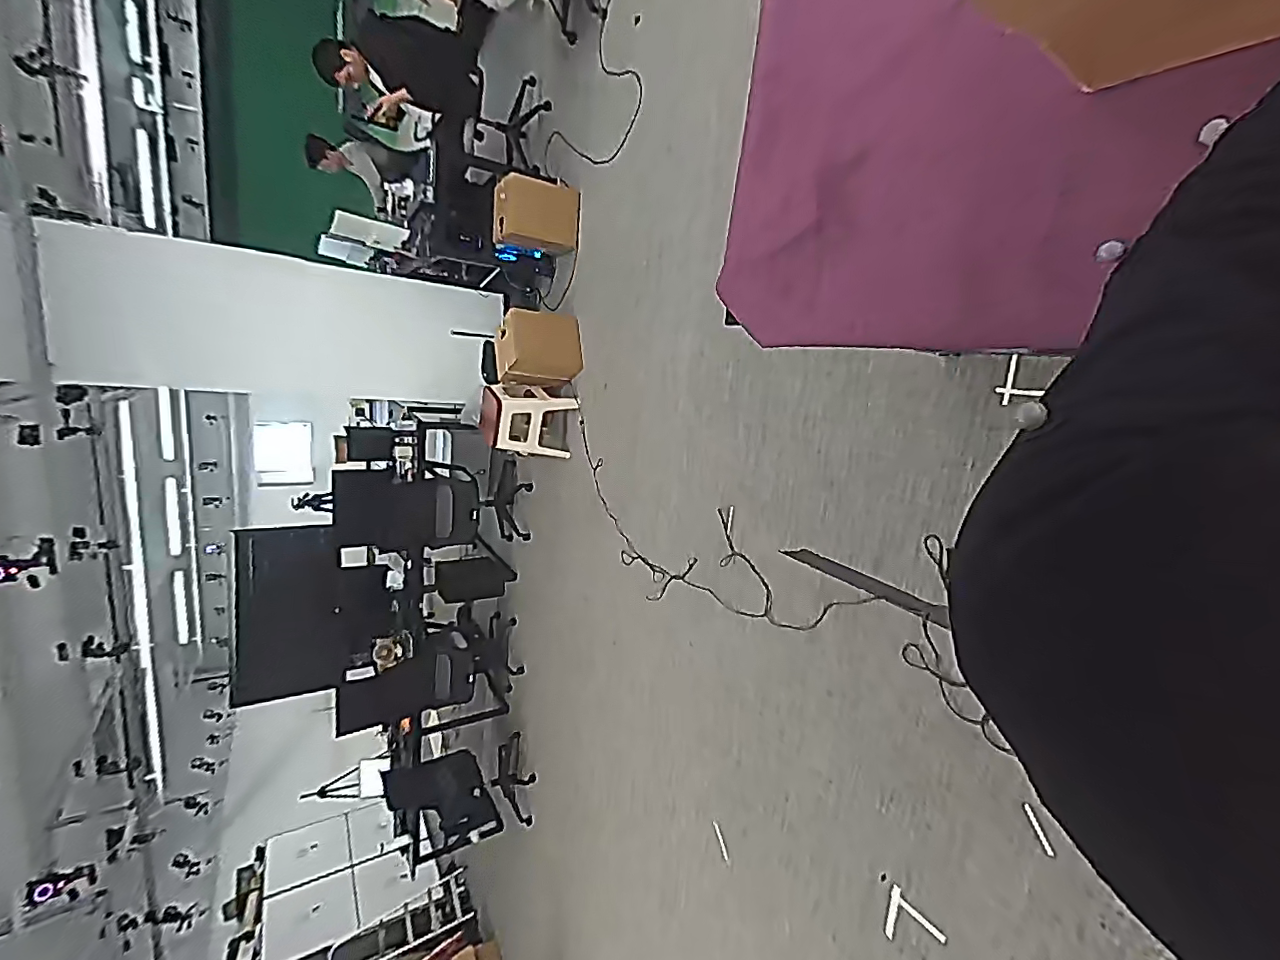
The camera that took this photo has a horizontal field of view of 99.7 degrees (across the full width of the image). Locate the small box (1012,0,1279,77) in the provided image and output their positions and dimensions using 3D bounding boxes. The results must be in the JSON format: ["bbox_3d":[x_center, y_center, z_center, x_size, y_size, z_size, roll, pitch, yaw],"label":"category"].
[{"bbox_3d":[0.444,-0.464,0.428,0.179,0.176,0.168,22,110,54],"label":"small box"}]
